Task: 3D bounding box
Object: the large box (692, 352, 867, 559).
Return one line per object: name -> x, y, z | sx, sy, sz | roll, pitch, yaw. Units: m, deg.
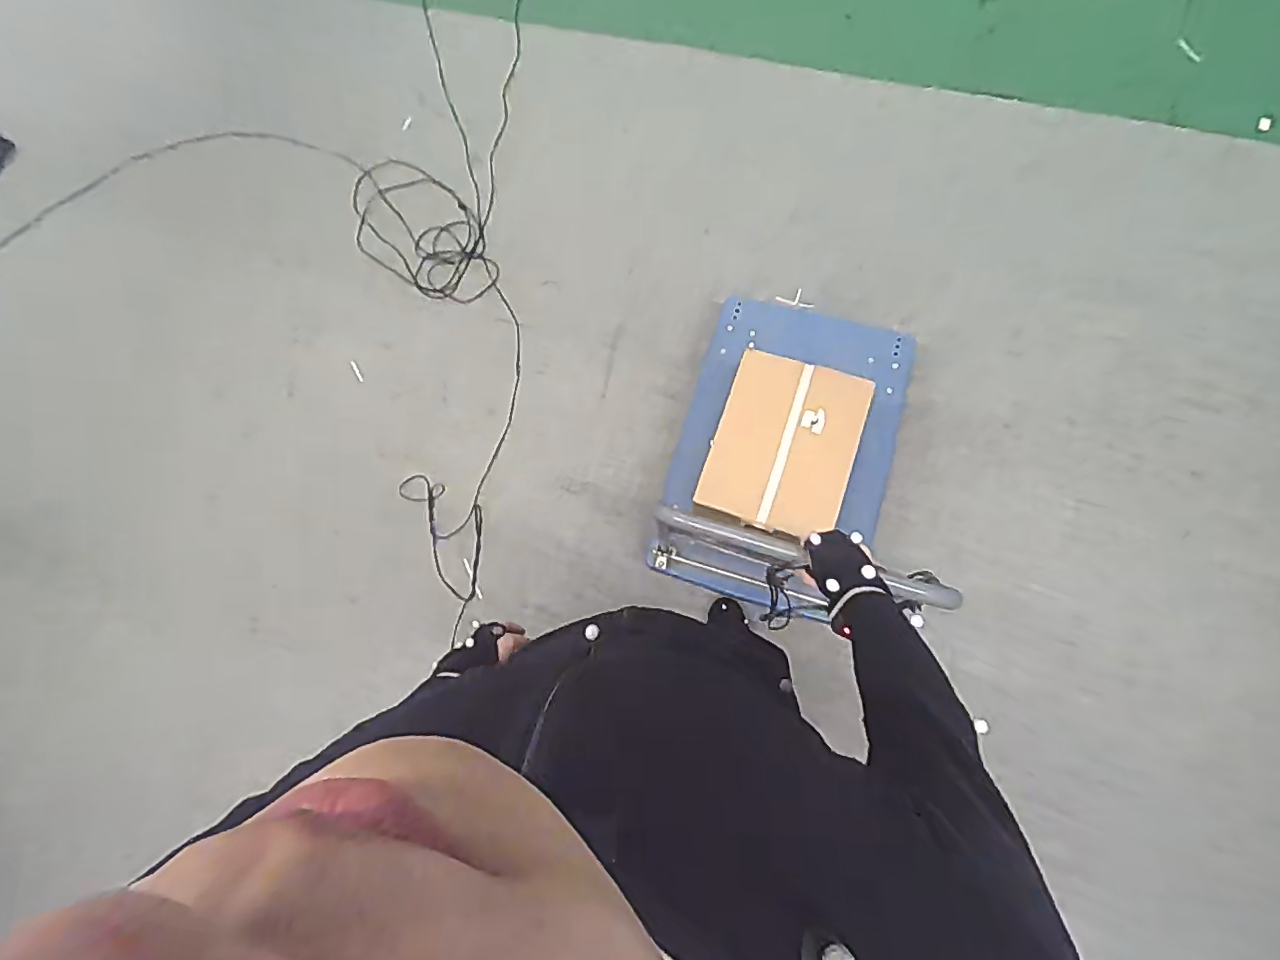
large box -> 0.338, -0.045, 1.383 | 0.320, 0.320, 0.408 | 18, 78, 9
